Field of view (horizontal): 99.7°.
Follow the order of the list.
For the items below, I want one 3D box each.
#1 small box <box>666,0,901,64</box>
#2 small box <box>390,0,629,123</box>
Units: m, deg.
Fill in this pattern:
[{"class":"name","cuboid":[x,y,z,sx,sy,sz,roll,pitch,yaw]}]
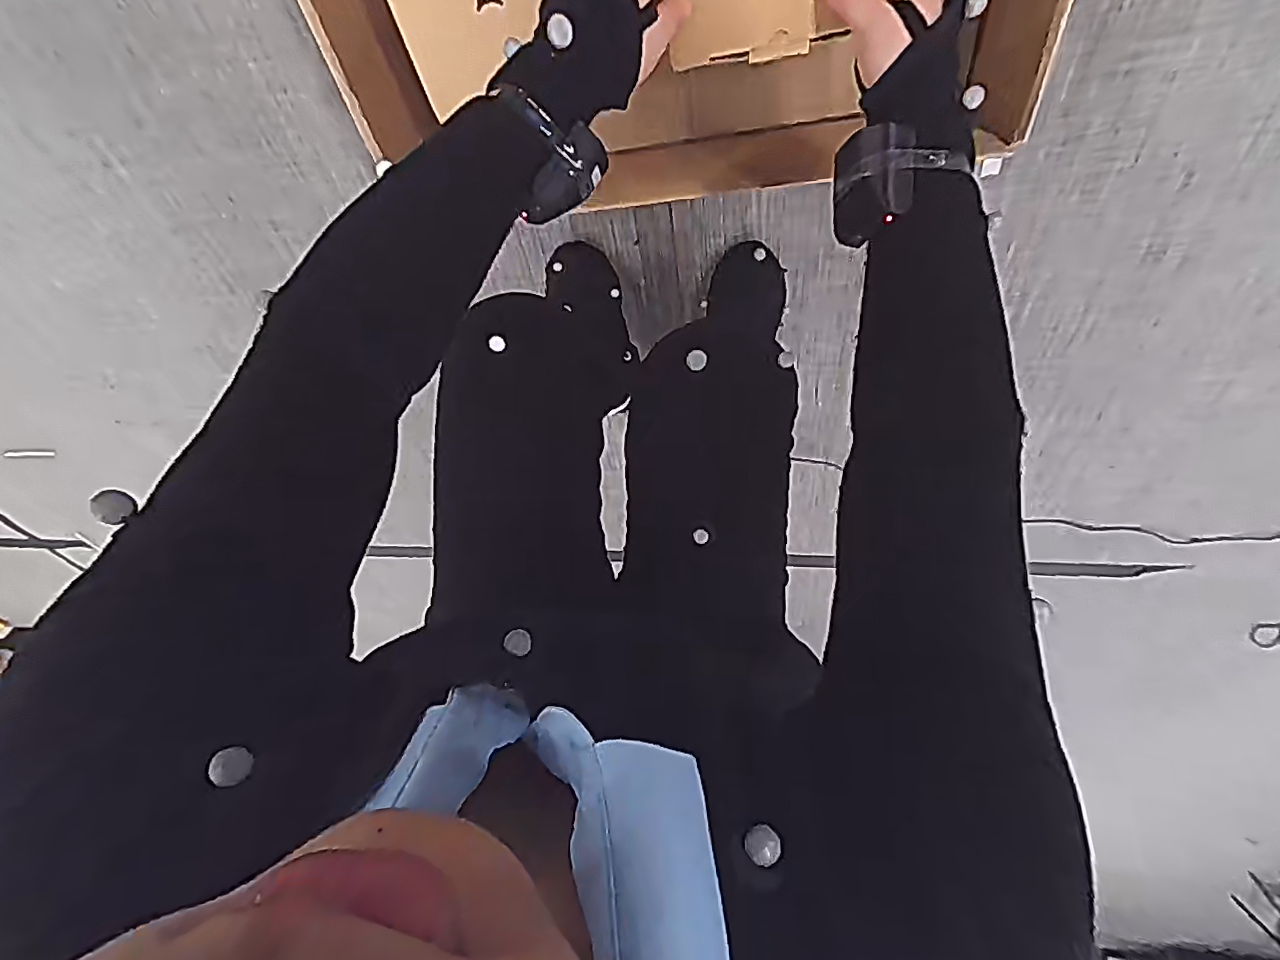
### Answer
[{"class":"small box","cuboid":[0.103,-0.438,0.409,0.168,0.176,0.179,-1,129,13]},{"class":"small box","cuboid":[-0.110,-0.443,0.465,0.168,0.176,0.179,-4,137,12]}]
